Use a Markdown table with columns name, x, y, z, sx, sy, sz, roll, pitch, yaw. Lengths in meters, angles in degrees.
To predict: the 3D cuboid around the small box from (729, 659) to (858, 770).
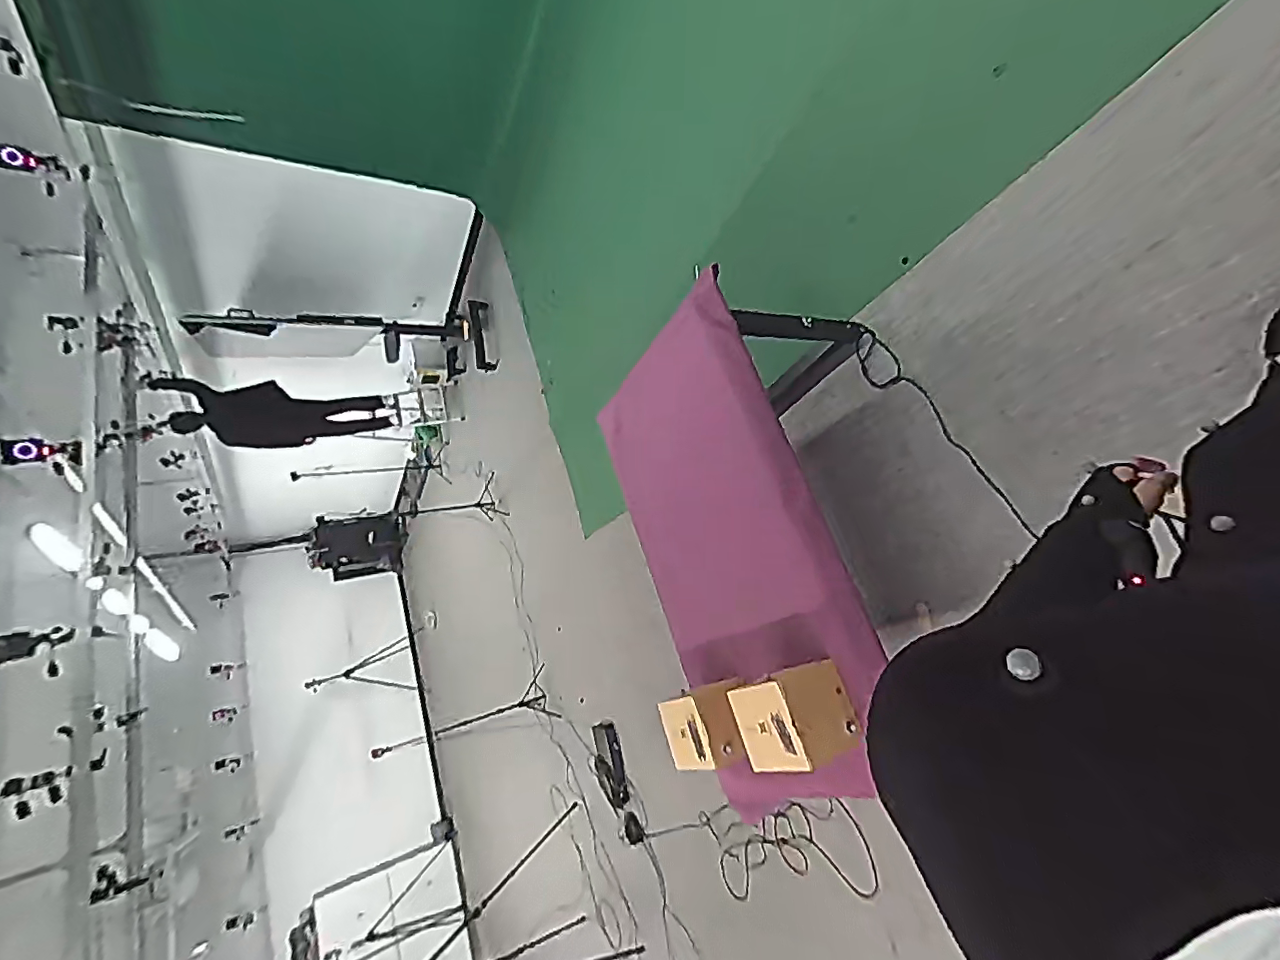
| name | x | y | z | sx | sy | sz | roll | pitch | yaw |
| --- | --- | --- | --- | --- | --- | --- | --- | --- | --- |
| small box | 0.324 | 0.487 | 1.128 | 0.179 | 0.176 | 0.168 | -44 | 60 | 51 |
